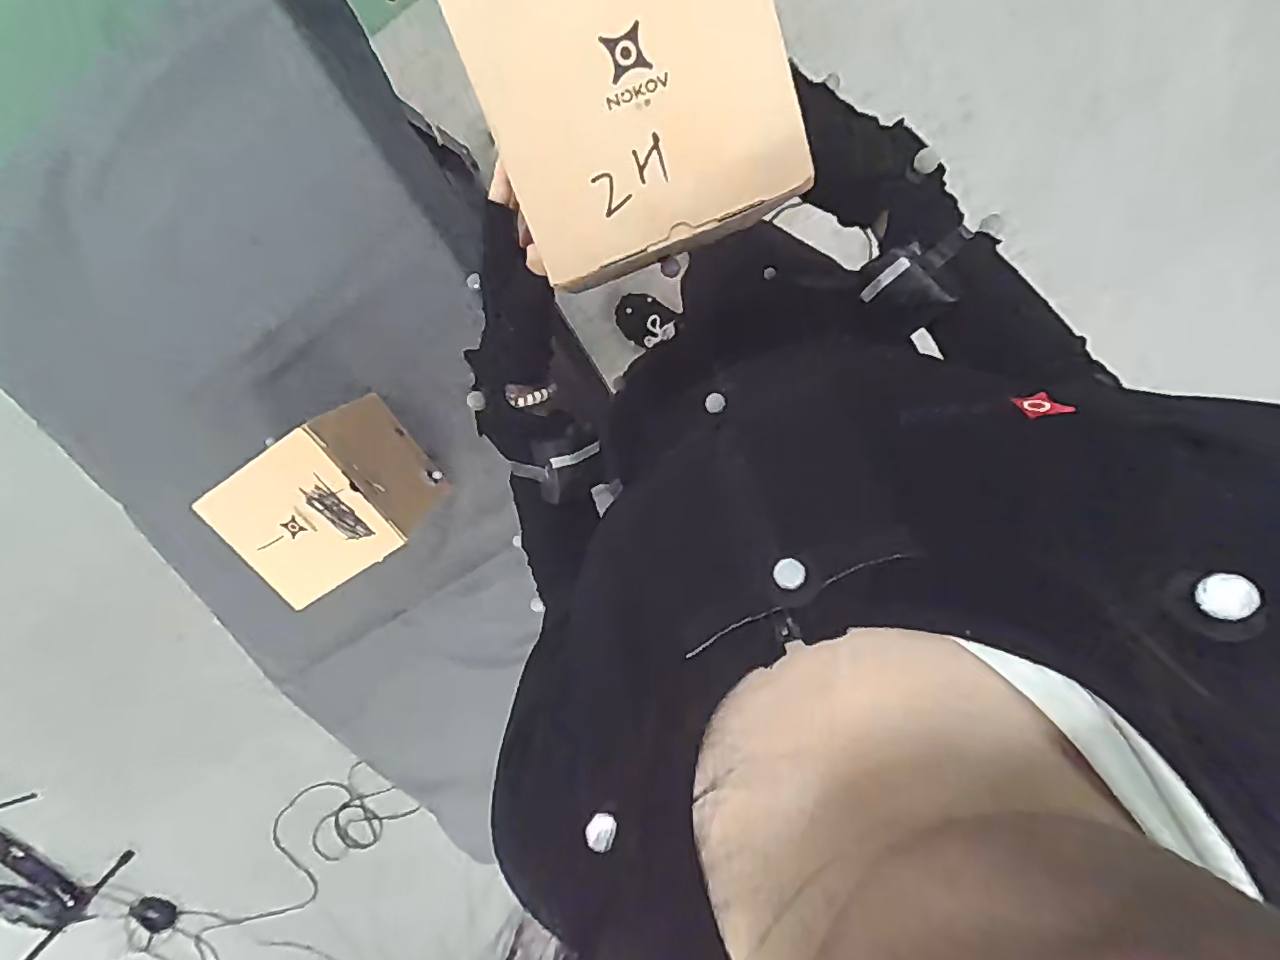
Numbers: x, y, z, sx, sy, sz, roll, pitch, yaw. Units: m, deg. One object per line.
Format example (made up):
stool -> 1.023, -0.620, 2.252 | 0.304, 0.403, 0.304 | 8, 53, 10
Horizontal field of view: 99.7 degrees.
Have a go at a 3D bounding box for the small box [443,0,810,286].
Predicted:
small box -> -0.010, -0.245, 0.364 | 0.168, 0.176, 0.179 | -19, 107, 4

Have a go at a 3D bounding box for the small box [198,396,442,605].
small box -> -0.376, 0.016, 0.680 | 0.179, 0.176, 0.168 | -30, 107, 13
